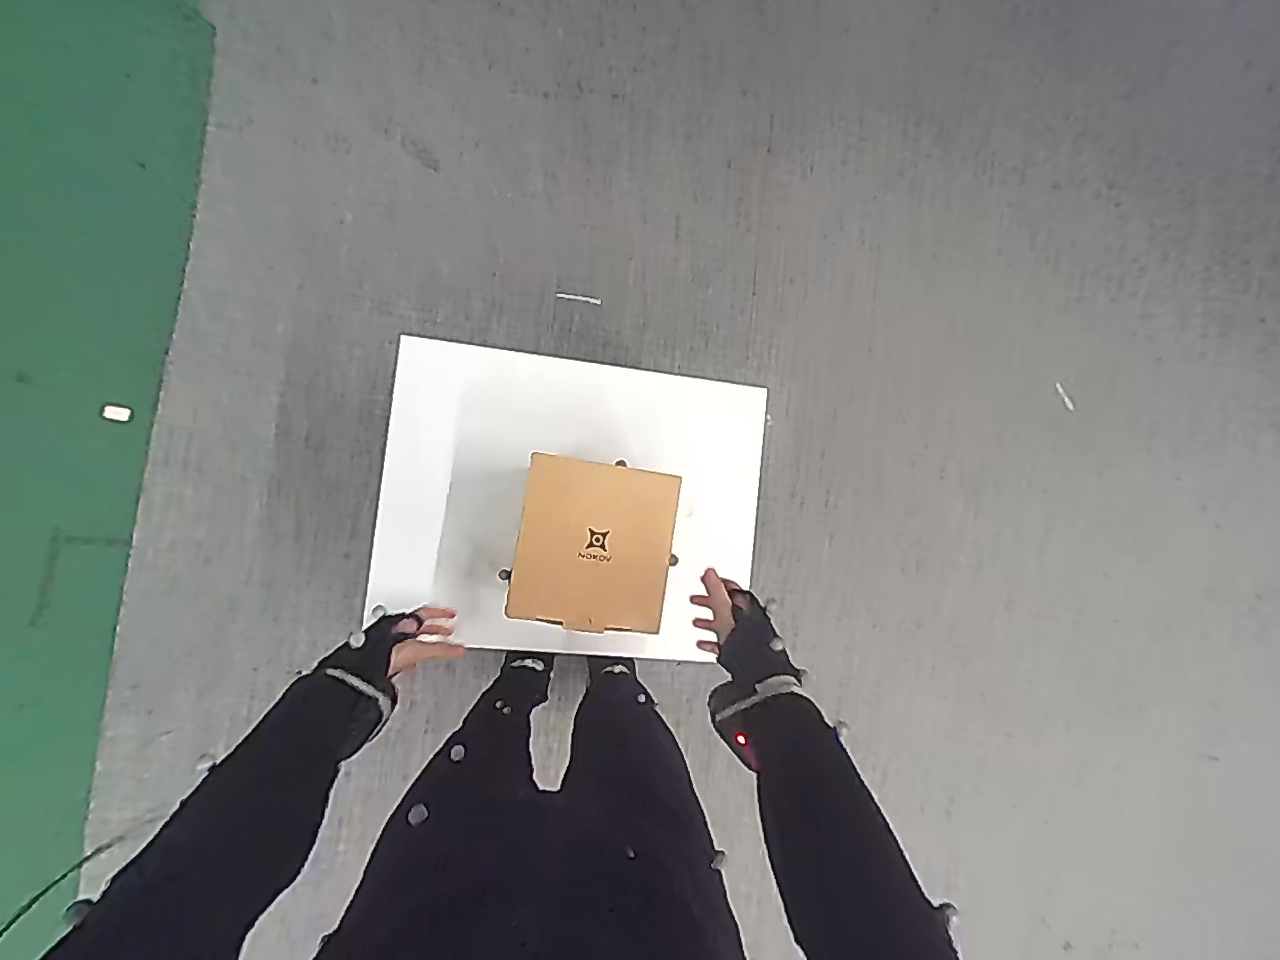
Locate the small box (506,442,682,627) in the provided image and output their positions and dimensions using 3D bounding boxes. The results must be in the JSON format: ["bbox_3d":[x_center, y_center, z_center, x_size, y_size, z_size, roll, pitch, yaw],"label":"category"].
[{"bbox_3d":[-0.059,0.063,0.646,0.168,0.176,0.179,9,85,-9],"label":"small box"}]
